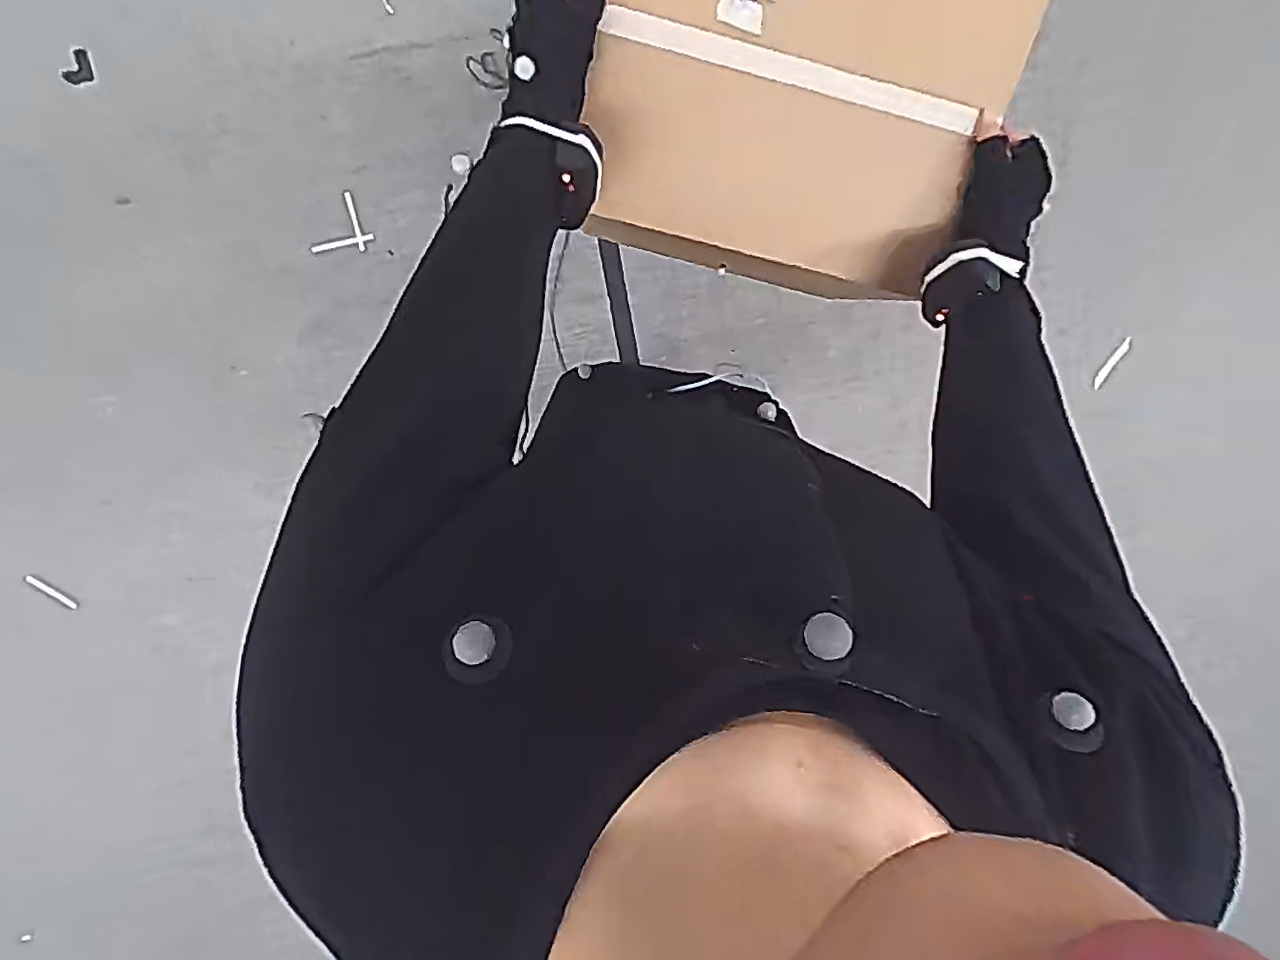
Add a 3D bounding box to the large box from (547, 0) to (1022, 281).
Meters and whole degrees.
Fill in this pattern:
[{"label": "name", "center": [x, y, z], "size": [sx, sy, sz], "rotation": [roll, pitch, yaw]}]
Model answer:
[{"label": "large box", "center": [0.134, -0.436, 0.644], "size": [0.408, 0.320, 0.320], "rotation": [13, 108, -4]}]
